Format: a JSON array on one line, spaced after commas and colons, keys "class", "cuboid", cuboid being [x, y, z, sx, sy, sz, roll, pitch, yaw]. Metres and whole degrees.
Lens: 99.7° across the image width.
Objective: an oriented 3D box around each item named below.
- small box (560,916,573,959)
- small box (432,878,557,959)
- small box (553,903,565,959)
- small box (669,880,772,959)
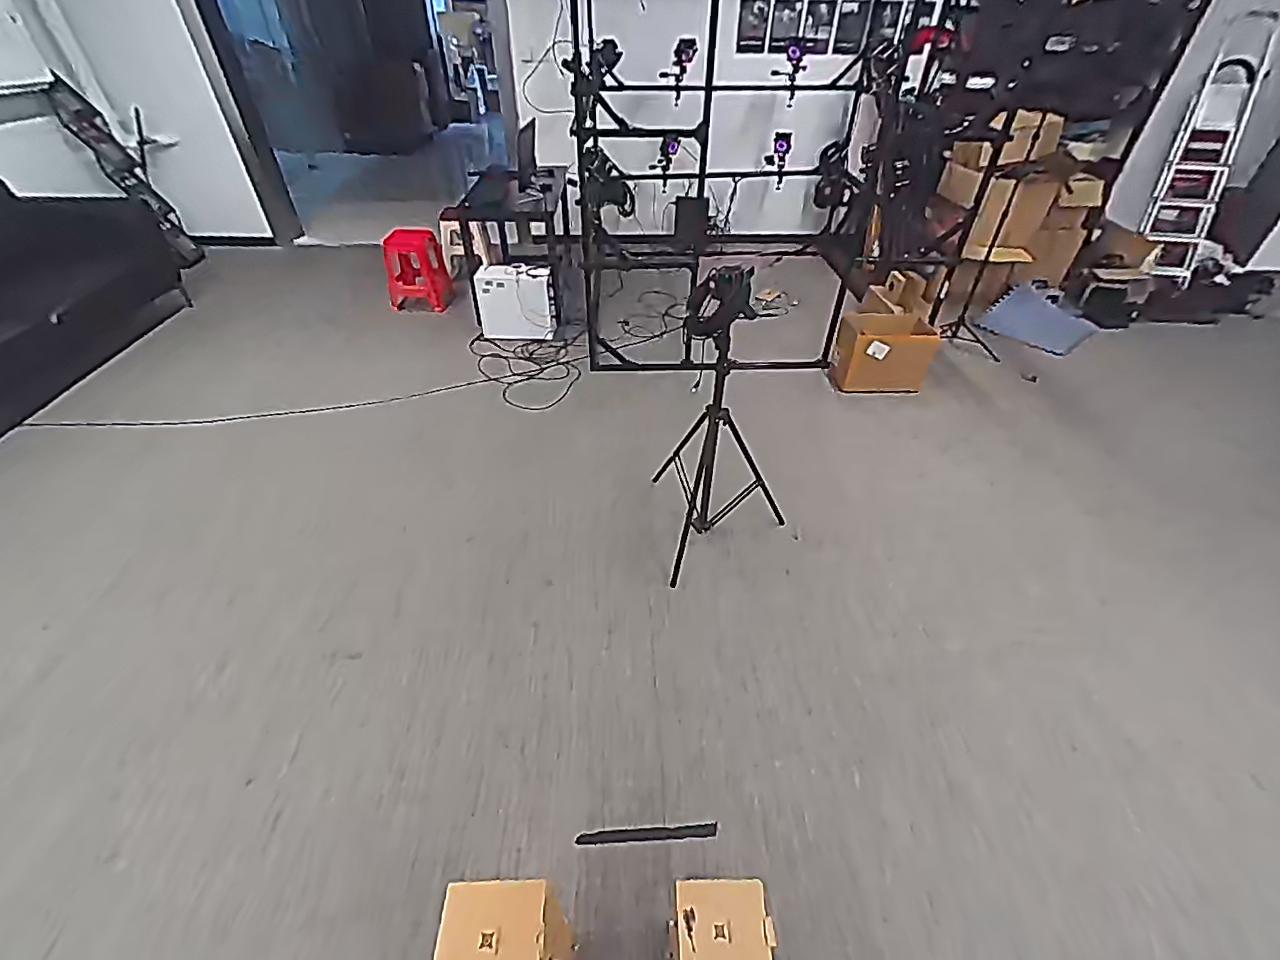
[{"class": "small box", "cuboid": [-0.228, 1.064, 1.145, 0.168, 0.176, 0.179, -5, 41, -6]}, {"class": "small box", "cuboid": [-0.246, 0.813, 0.936, 0.179, 0.176, 0.168, -1, 41, -1]}, {"class": "small box", "cuboid": [-0.235, 0.943, 1.034, 0.168, 0.176, 0.179, -5, 42, -5]}, {"class": "small box", "cuboid": [0.153, 0.915, 1.070, 0.179, 0.176, 0.168, 1, 40, -1]}]
